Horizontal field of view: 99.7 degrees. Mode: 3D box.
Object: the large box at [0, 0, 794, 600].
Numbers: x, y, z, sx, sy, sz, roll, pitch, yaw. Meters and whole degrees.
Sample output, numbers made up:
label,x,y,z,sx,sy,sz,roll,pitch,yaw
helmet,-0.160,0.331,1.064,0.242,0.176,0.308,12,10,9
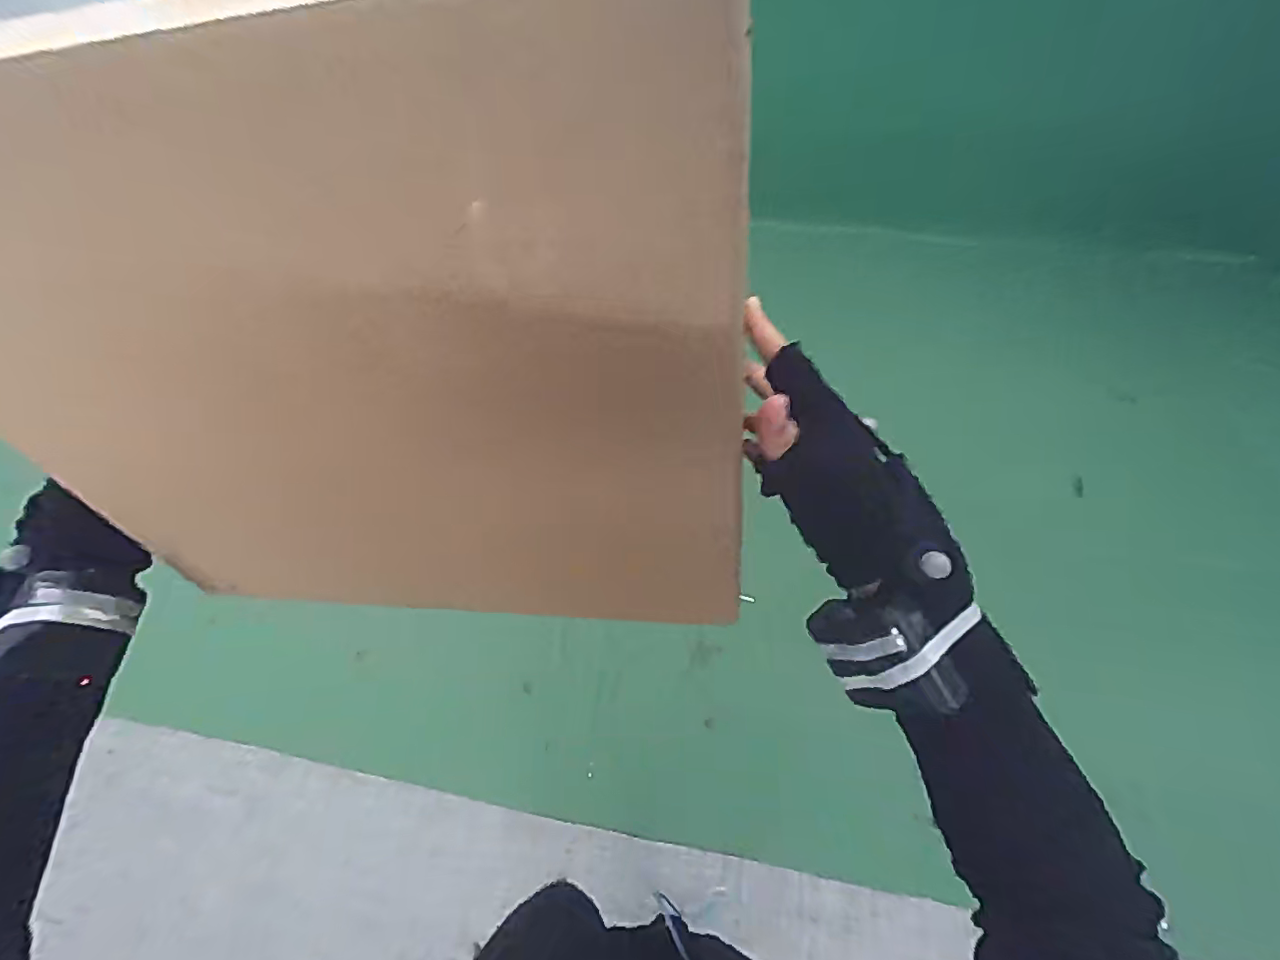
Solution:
label,x,y,z,sx,sy,sz,roll,pitch,yaw
large box,-0.120,-0.131,0.383,0.408,0.320,0.320,1,48,10
